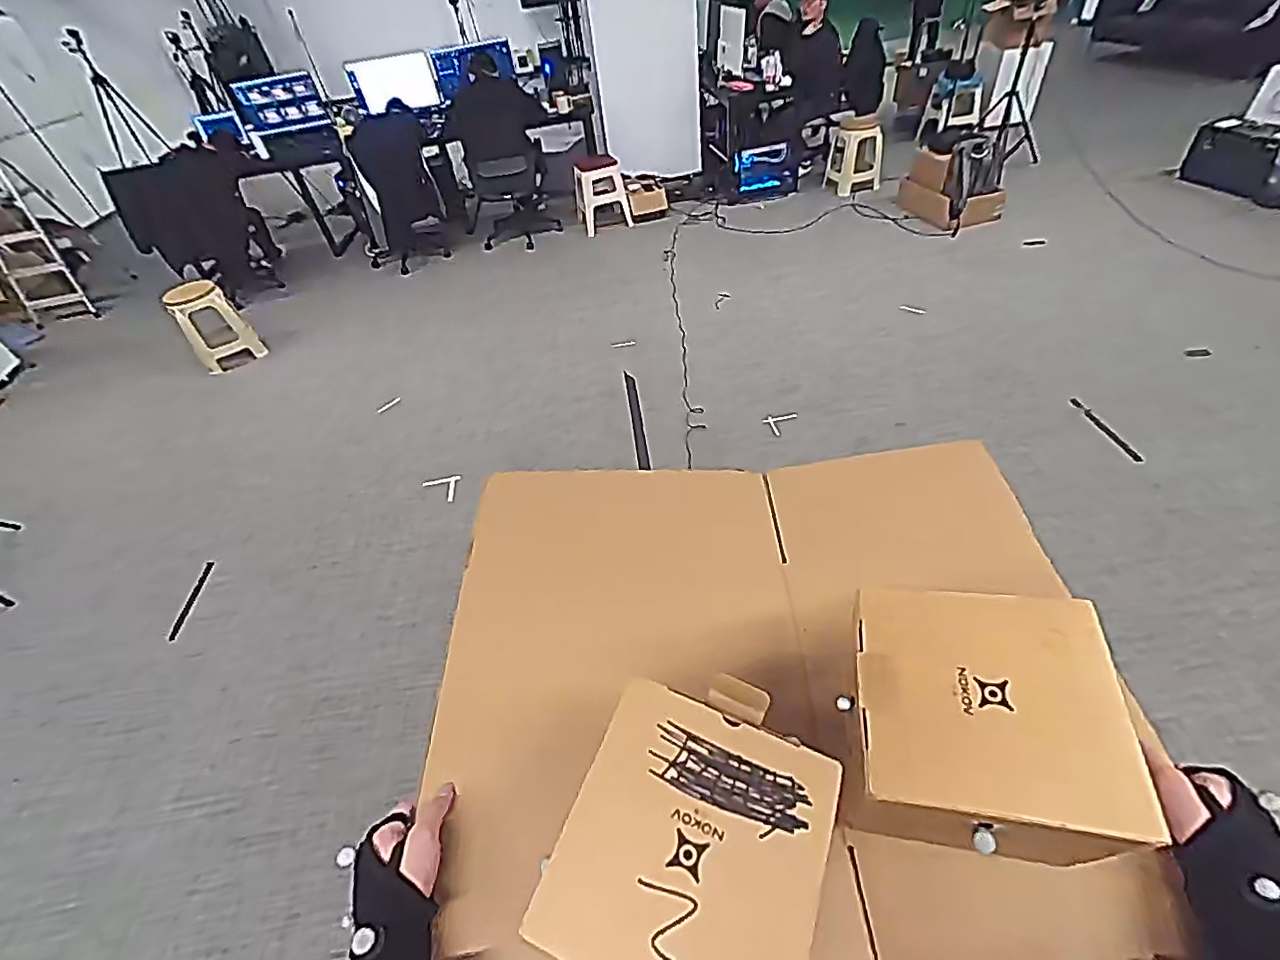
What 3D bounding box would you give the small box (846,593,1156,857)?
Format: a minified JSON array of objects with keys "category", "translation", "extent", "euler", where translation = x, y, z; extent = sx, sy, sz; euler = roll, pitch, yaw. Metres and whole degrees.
[{"category":"small box","translation":[0.281,0.216,0.475],"extent":[0.179,0.176,0.168],"euler":[0,52,18]}]
